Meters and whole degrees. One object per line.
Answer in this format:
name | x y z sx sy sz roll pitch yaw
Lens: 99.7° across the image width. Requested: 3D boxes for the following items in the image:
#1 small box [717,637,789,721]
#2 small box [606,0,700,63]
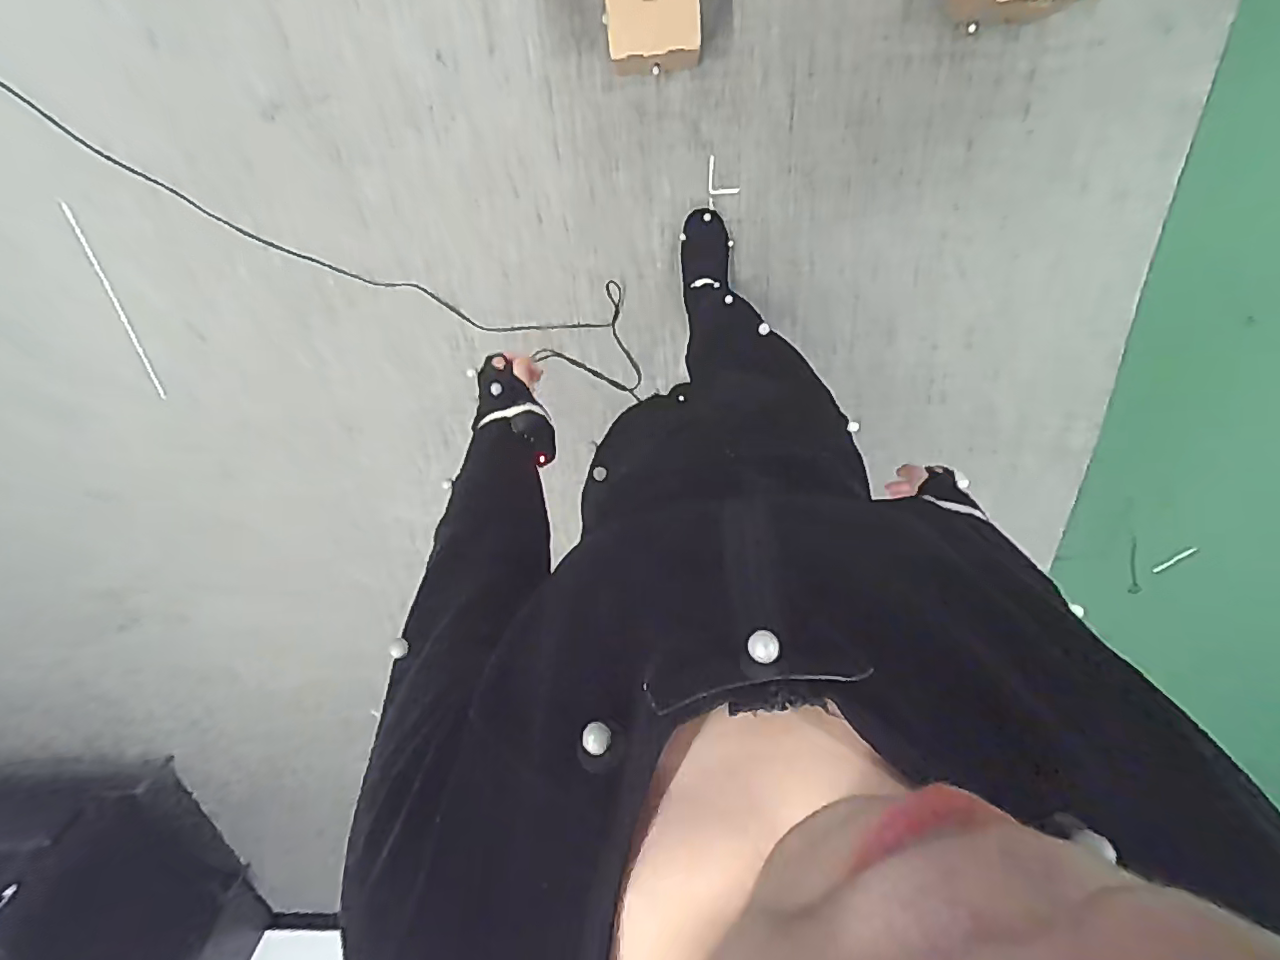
small box | 0.325 0.578 1.583 0.179 0.176 0.168 1 119 3
small box | 0.027 -0.891 0.996 0.168 0.176 0.179 -2 119 6
